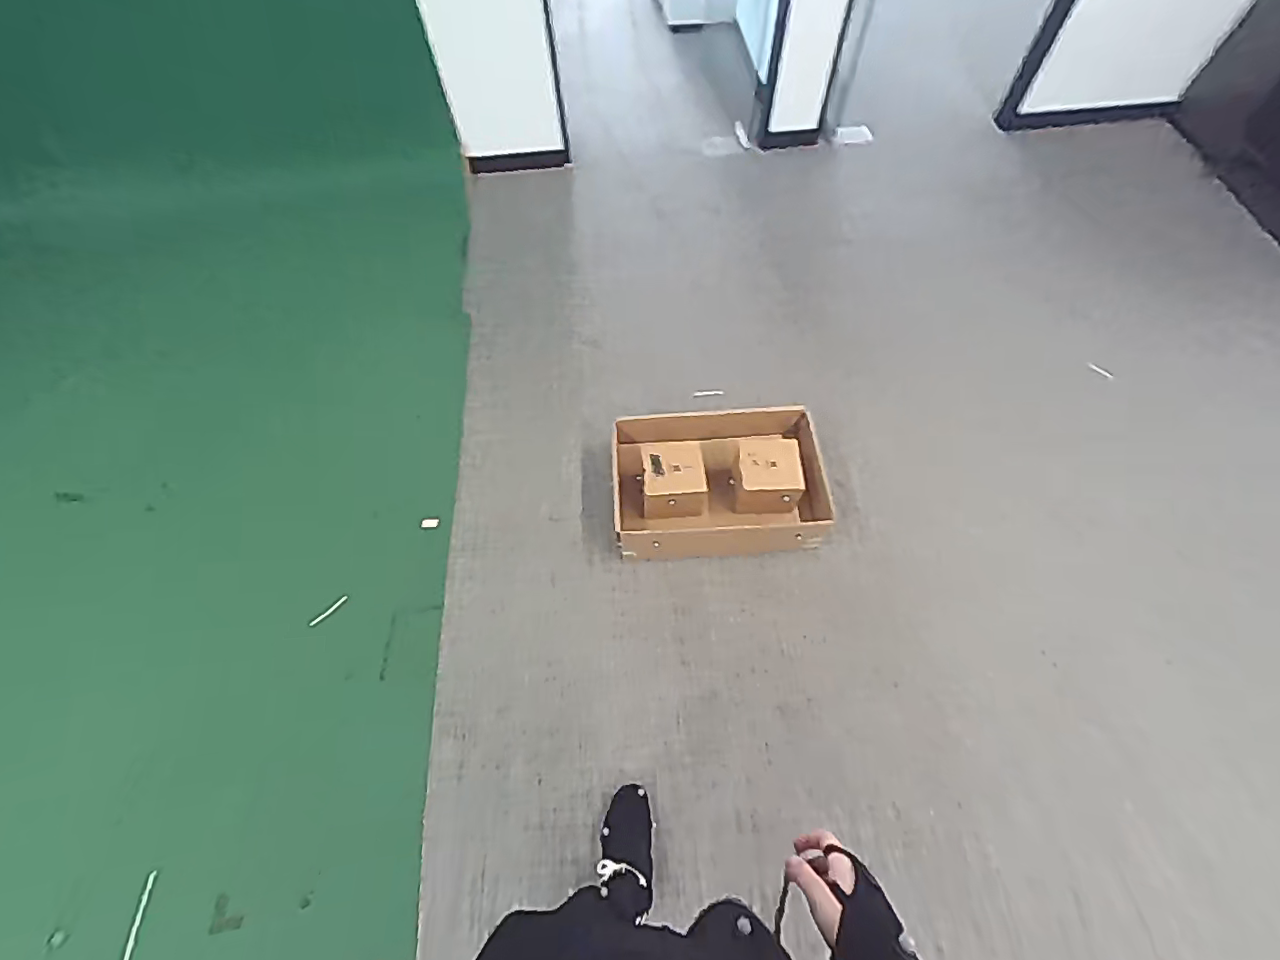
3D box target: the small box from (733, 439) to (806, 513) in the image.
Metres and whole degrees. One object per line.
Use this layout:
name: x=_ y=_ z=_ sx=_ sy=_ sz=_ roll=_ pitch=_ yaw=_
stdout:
small box: x=0.381 y=-0.009 z=1.616 sx=0.179 sy=0.176 sz=0.168 roll=-1 pitch=62 yaw=3
